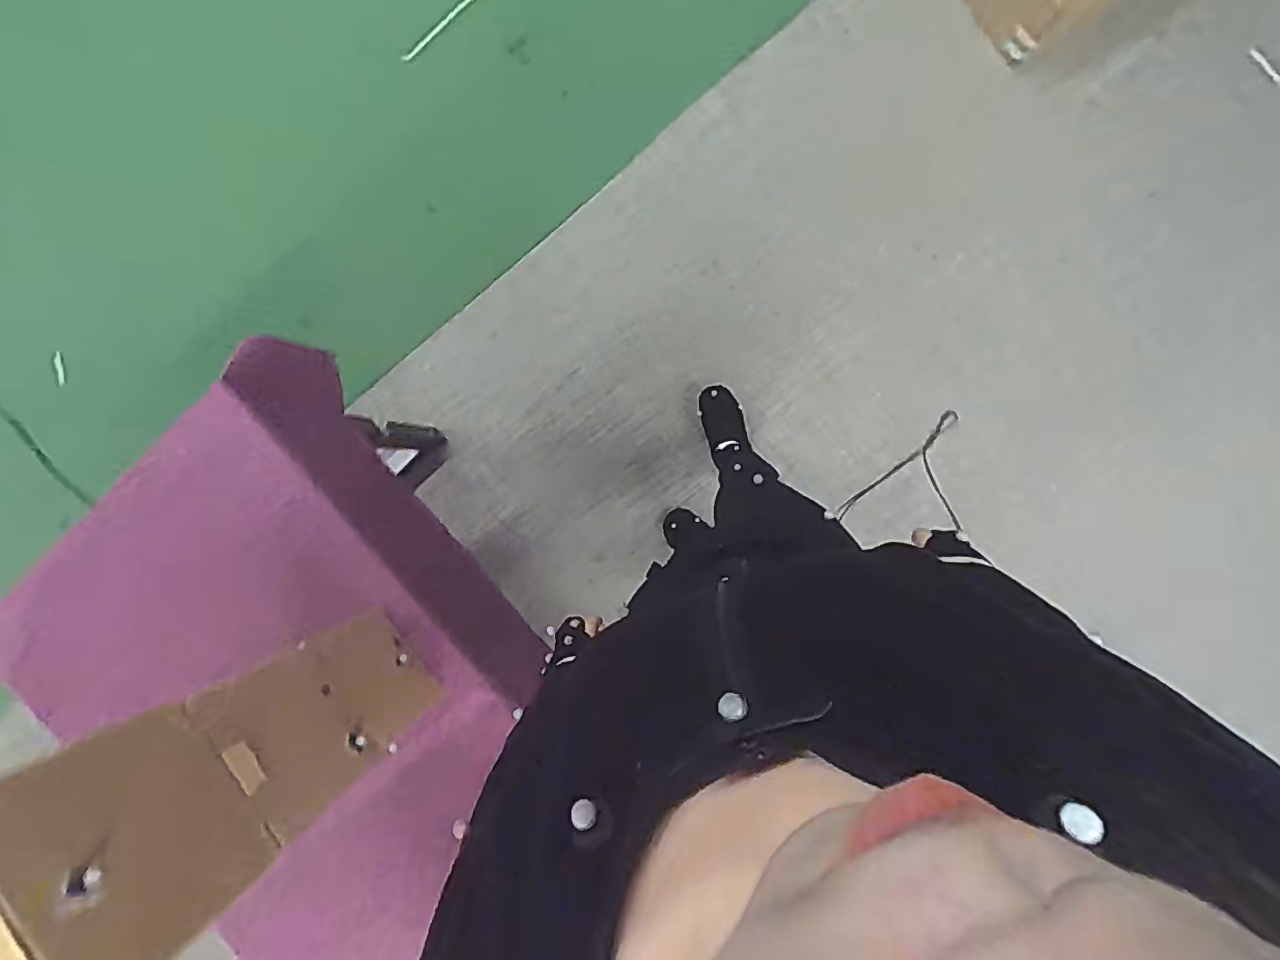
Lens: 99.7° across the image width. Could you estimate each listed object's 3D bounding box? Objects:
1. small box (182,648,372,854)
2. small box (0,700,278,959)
[{"bbox_3d":[-0.425,0.312,0.582,0.179,0.176,0.168,-38,88,6],"label":"small box"},{"bbox_3d":[-0.438,0.311,0.419,0.168,0.176,0.179,-36,87,4],"label":"small box"}]
